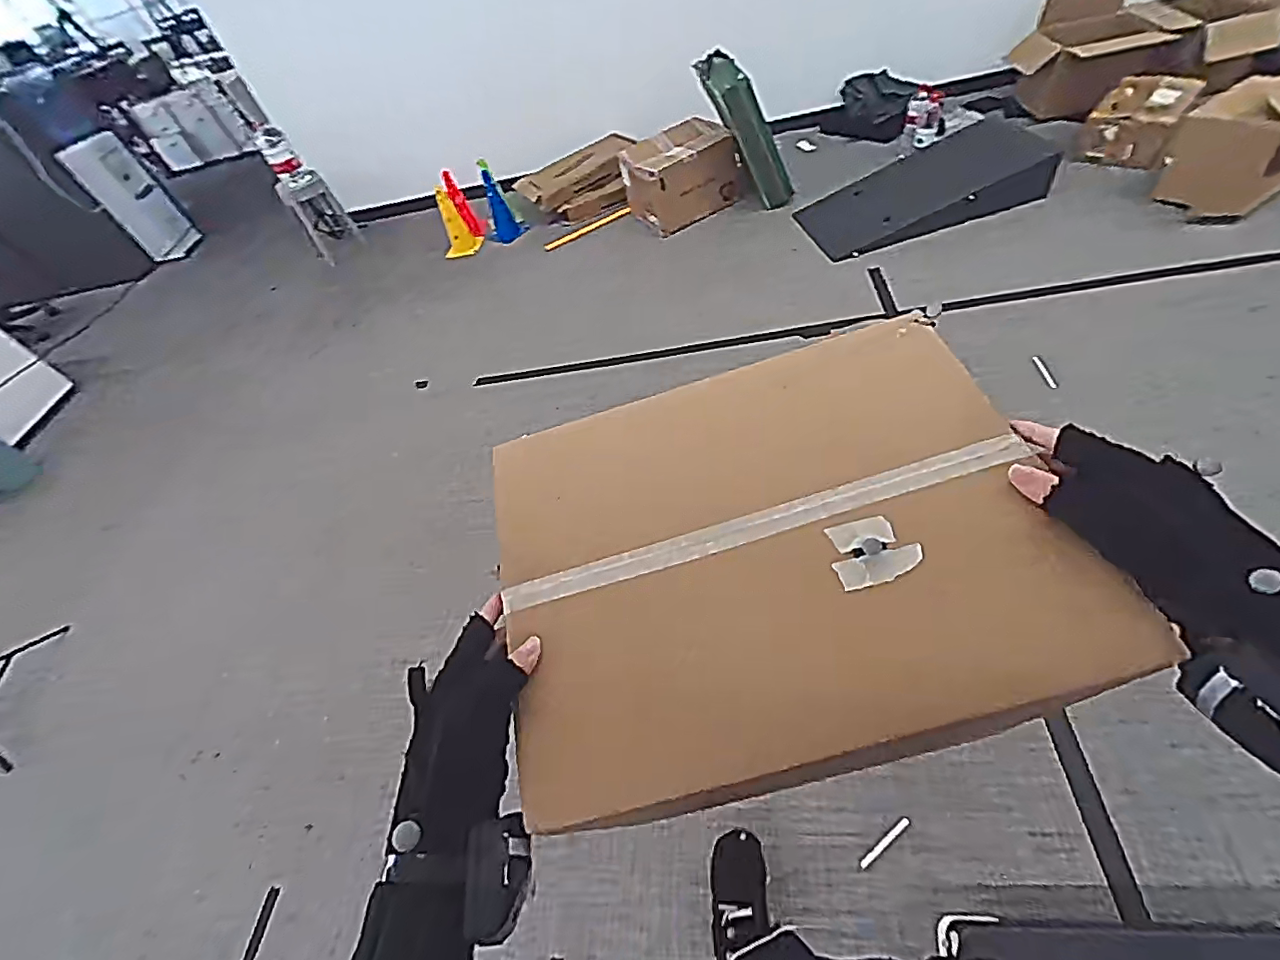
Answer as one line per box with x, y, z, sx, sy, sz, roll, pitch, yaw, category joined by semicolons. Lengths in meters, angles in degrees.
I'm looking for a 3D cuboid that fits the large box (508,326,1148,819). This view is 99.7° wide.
0.124;0.116;0.547;0.408;0.320;0.320;-17;57;3;large box
